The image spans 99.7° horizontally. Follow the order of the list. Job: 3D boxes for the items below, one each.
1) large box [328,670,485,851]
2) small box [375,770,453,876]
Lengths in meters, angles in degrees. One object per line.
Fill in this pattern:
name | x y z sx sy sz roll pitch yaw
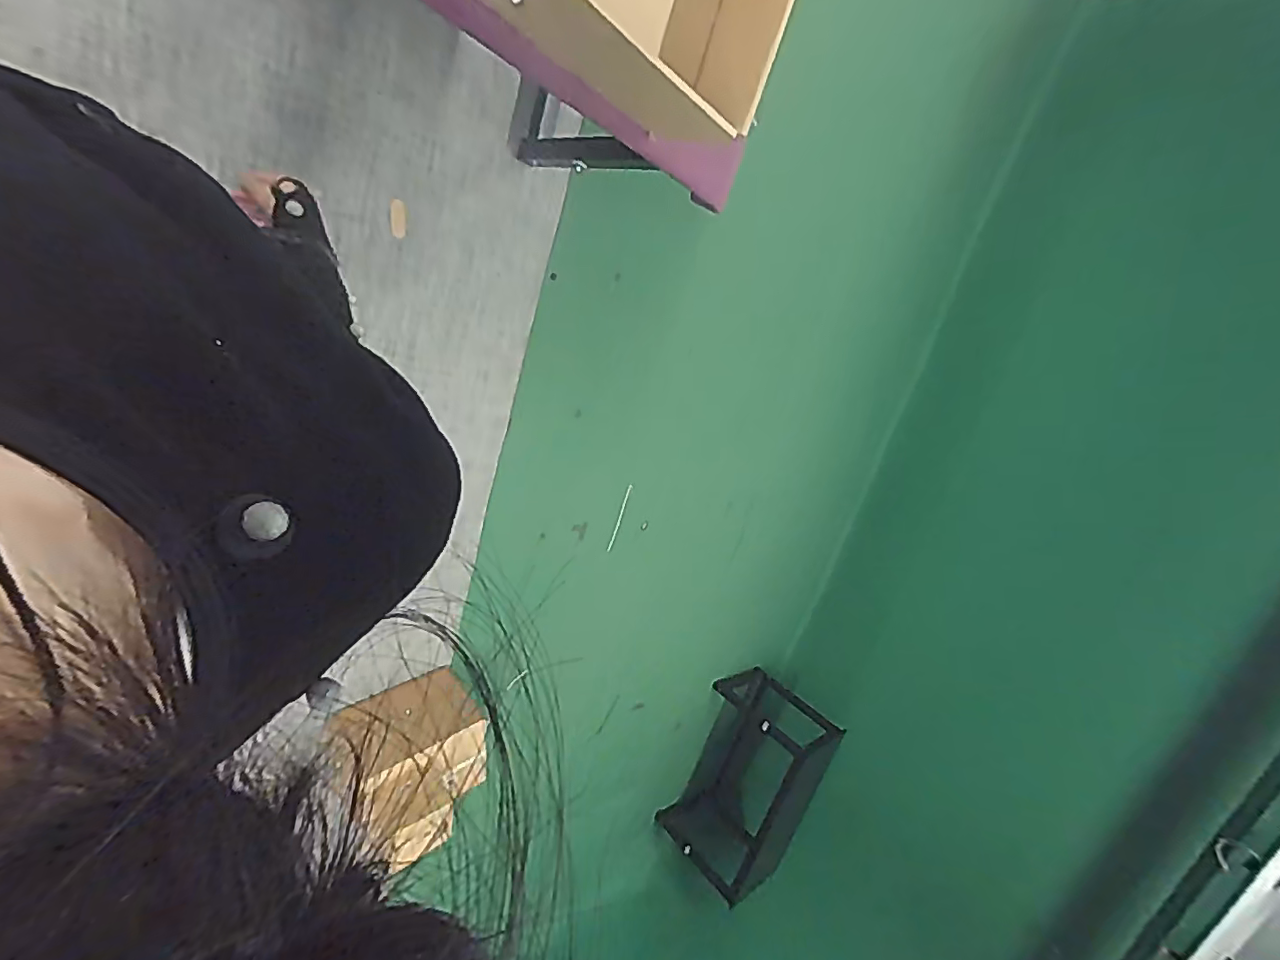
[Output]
large box | -0.791 0.934 1.854 0.408 0.320 0.320 -16 124 -41
small box | -0.688 1.027 1.633 0.179 0.176 0.168 -10 119 -42
